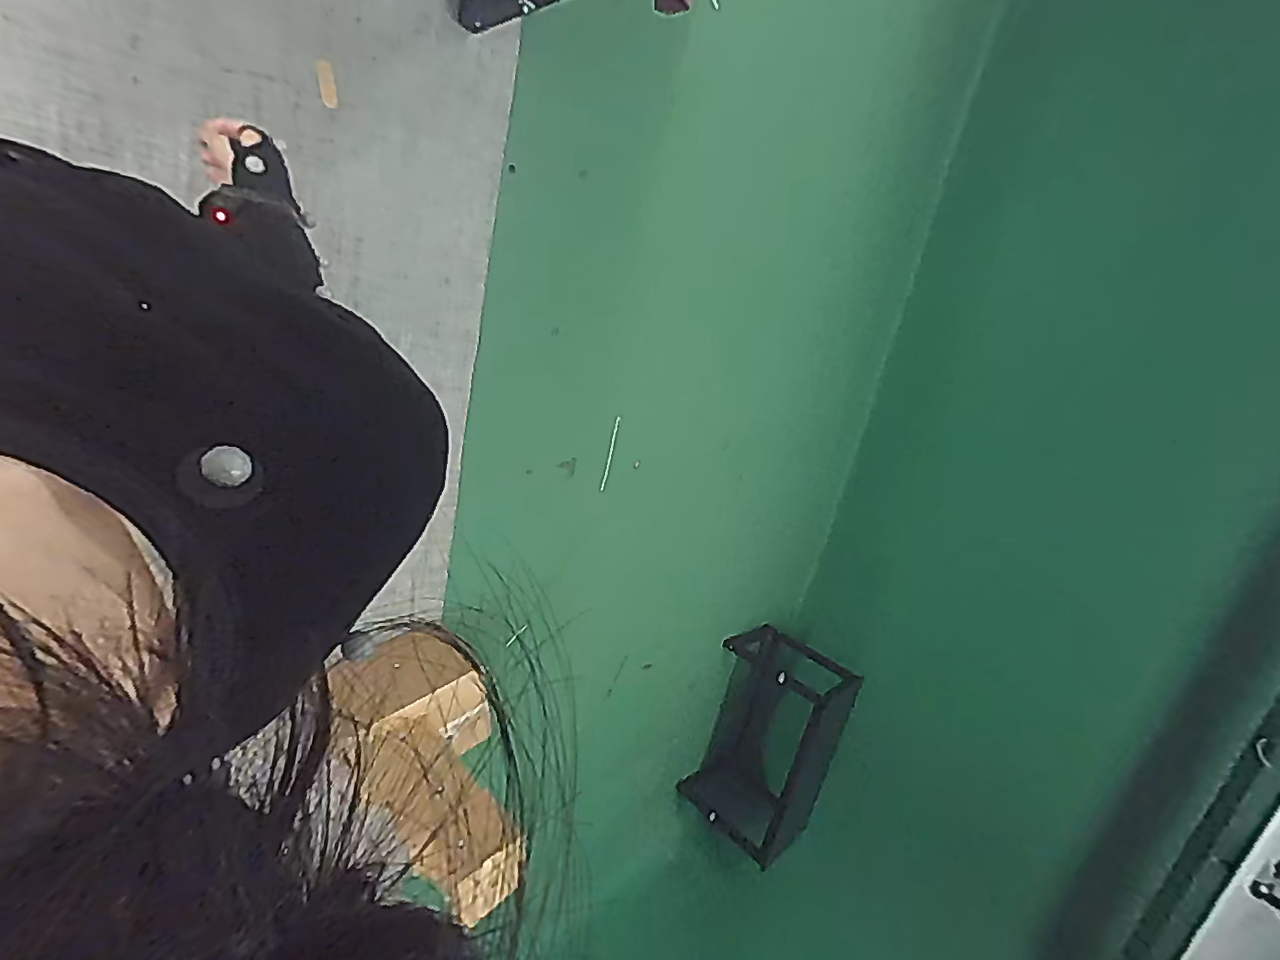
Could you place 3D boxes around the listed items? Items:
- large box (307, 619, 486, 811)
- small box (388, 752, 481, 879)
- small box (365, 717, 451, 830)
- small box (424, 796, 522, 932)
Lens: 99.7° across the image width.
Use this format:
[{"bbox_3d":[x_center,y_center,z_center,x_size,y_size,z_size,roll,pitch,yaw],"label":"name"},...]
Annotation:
[{"bbox_3d":[-0.753,0.710,1.702,0.408,0.320,0.320,-21,125,-42],"label":"large box"},{"bbox_3d":[-0.523,0.848,1.381,0.179,0.176,0.168,-21,124,-42],"label":"small box"},{"bbox_3d":[-0.639,0.796,1.485,0.179,0.176,0.168,-15,120,-43],"label":"small box"},{"bbox_3d":[-0.398,0.897,1.287,0.168,0.176,0.179,-19,123,-42],"label":"small box"}]
